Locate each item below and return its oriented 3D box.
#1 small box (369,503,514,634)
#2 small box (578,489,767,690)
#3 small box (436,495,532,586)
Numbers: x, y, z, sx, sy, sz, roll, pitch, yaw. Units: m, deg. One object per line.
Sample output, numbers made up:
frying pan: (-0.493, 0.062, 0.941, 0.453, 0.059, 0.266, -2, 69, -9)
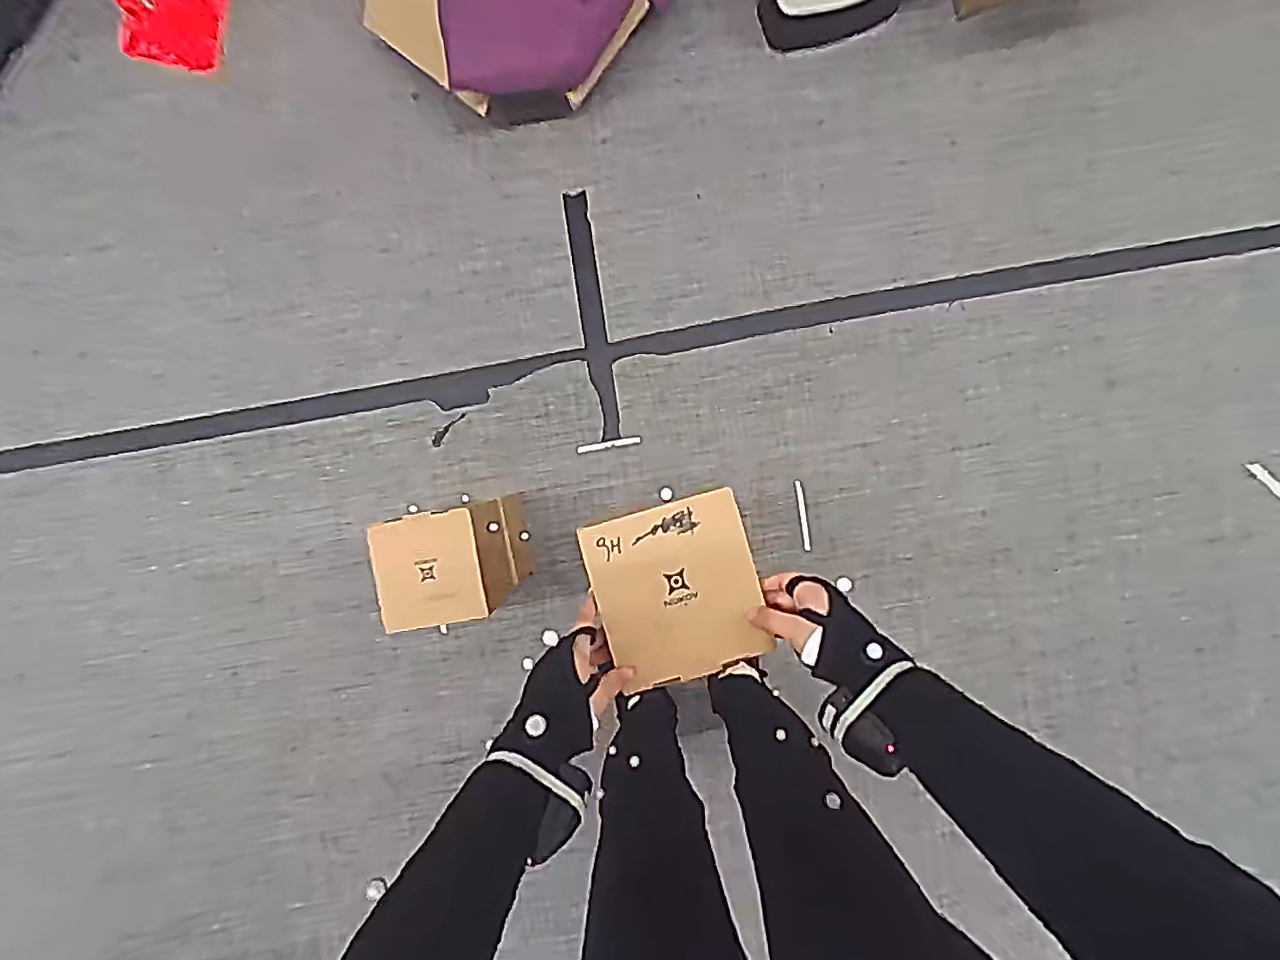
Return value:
small box: (-0.323, 0.138, 0.912, 0.168, 0.176, 0.179, -10, 93, 2)
small box: (0.032, 0.115, 0.641, 0.168, 0.176, 0.179, -15, 91, -2)
small box: (-0.321, 0.127, 1.075, 0.179, 0.176, 0.168, -11, 92, 0)
